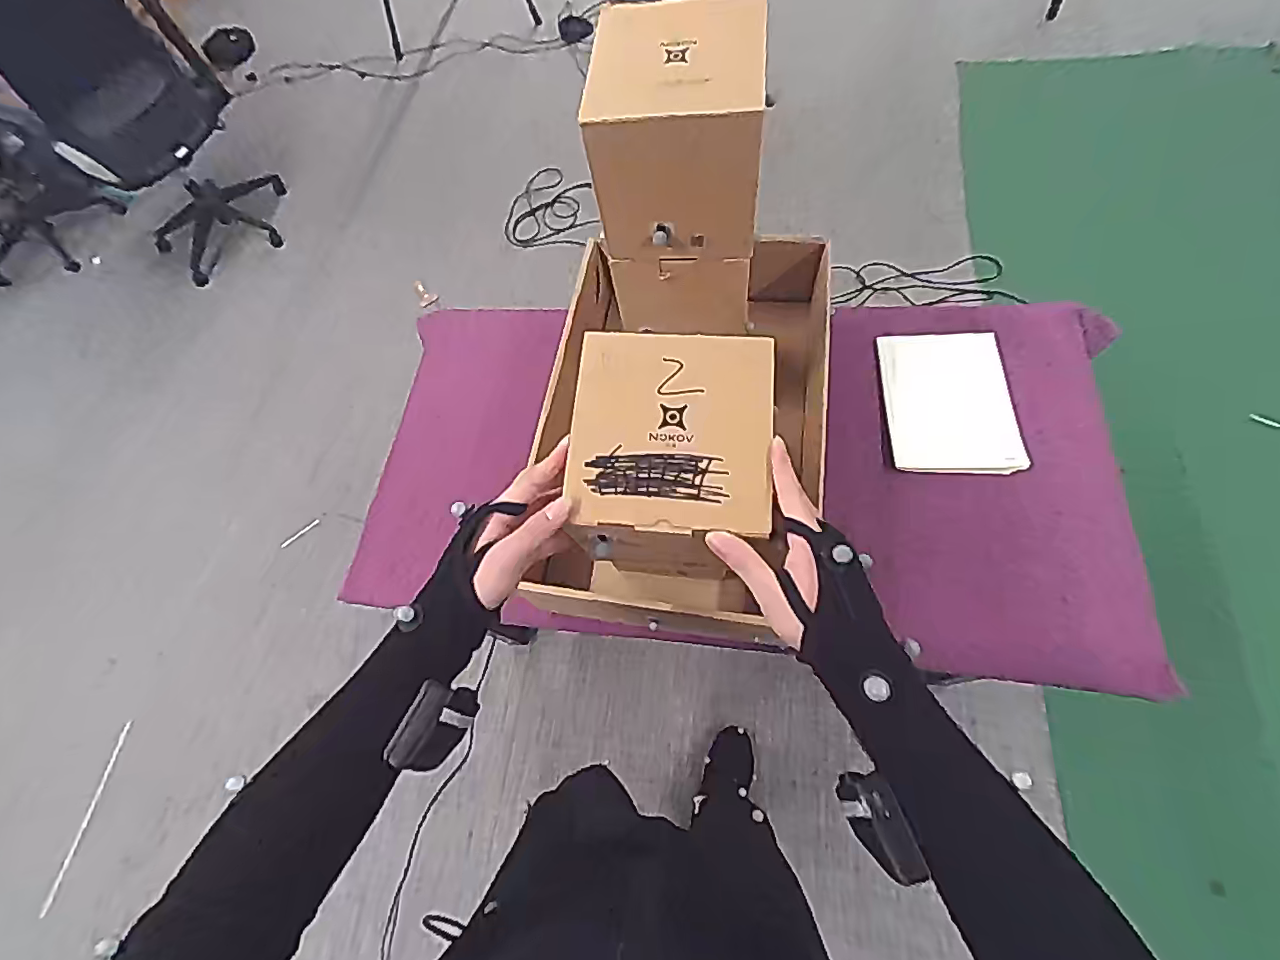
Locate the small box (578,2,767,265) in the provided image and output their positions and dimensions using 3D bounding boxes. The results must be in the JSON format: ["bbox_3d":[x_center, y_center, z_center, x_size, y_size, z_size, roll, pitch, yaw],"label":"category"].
[{"bbox_3d":[0.042,-0.359,0.578,0.168,0.176,0.179,3,68,9],"label":"small box"}]

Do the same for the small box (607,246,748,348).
[{"bbox_3d":[0.060,-0.295,0.727,0.168,0.176,0.179,3,67,9],"label":"small box"}]
